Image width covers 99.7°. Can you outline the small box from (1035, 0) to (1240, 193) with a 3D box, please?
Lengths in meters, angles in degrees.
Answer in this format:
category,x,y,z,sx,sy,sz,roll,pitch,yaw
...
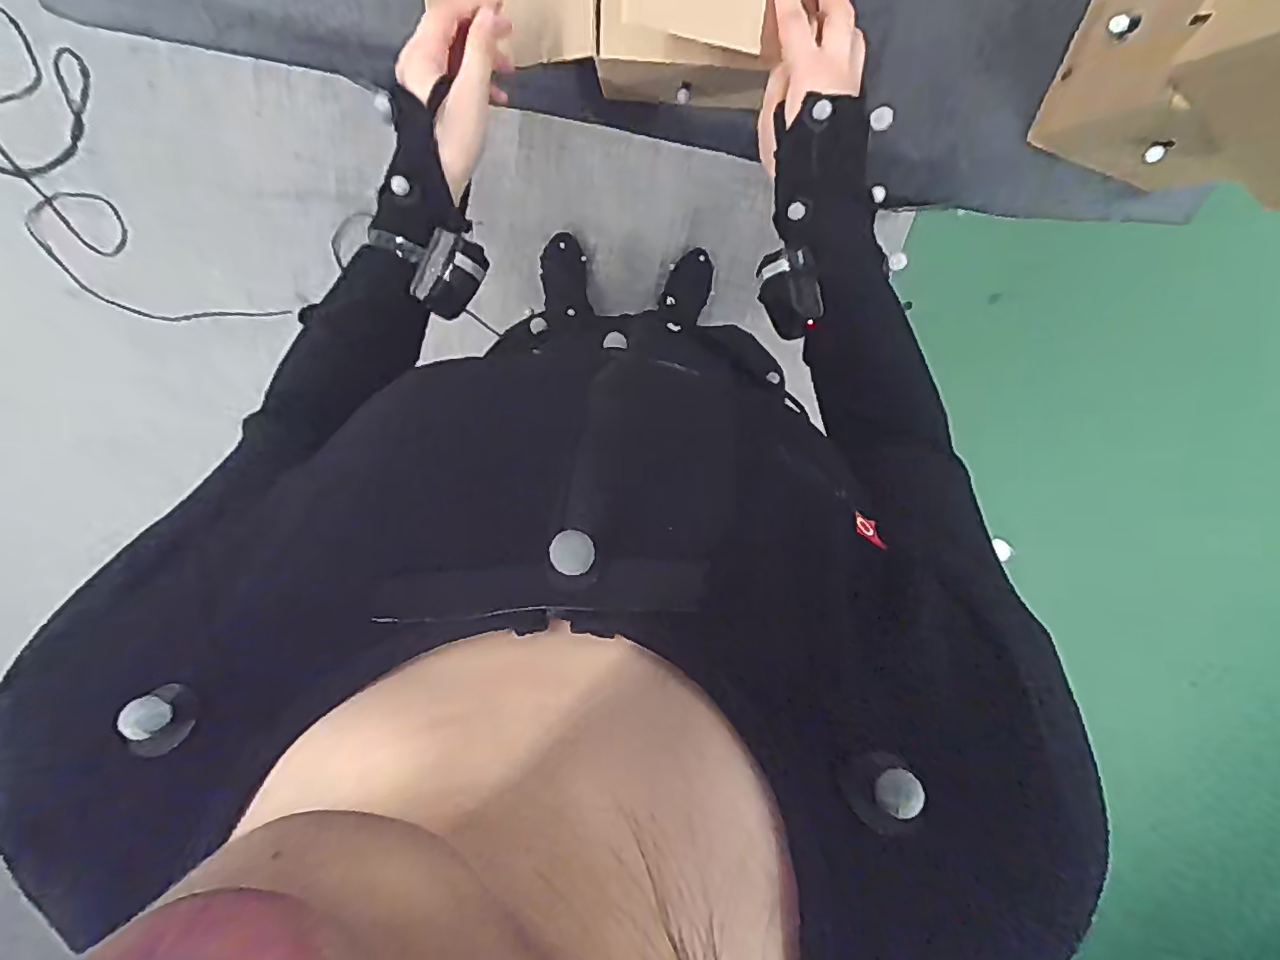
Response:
category,x,y,z,sx,sy,sz,roll,pitch,yaw
small box,0.532,-0.387,0.506,0.179,0.176,0.168,15,111,-8

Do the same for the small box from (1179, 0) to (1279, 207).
category,x,y,z,sx,sy,sz,roll,pitch,yaw
small box,0.540,-0.309,0.362,0.179,0.176,0.168,35,106,-17

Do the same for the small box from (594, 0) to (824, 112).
category,x,y,z,sx,sy,sz,roll,pitch,yaw
small box,0.055,-0.432,0.467,0.179,0.176,0.168,4,116,-1
